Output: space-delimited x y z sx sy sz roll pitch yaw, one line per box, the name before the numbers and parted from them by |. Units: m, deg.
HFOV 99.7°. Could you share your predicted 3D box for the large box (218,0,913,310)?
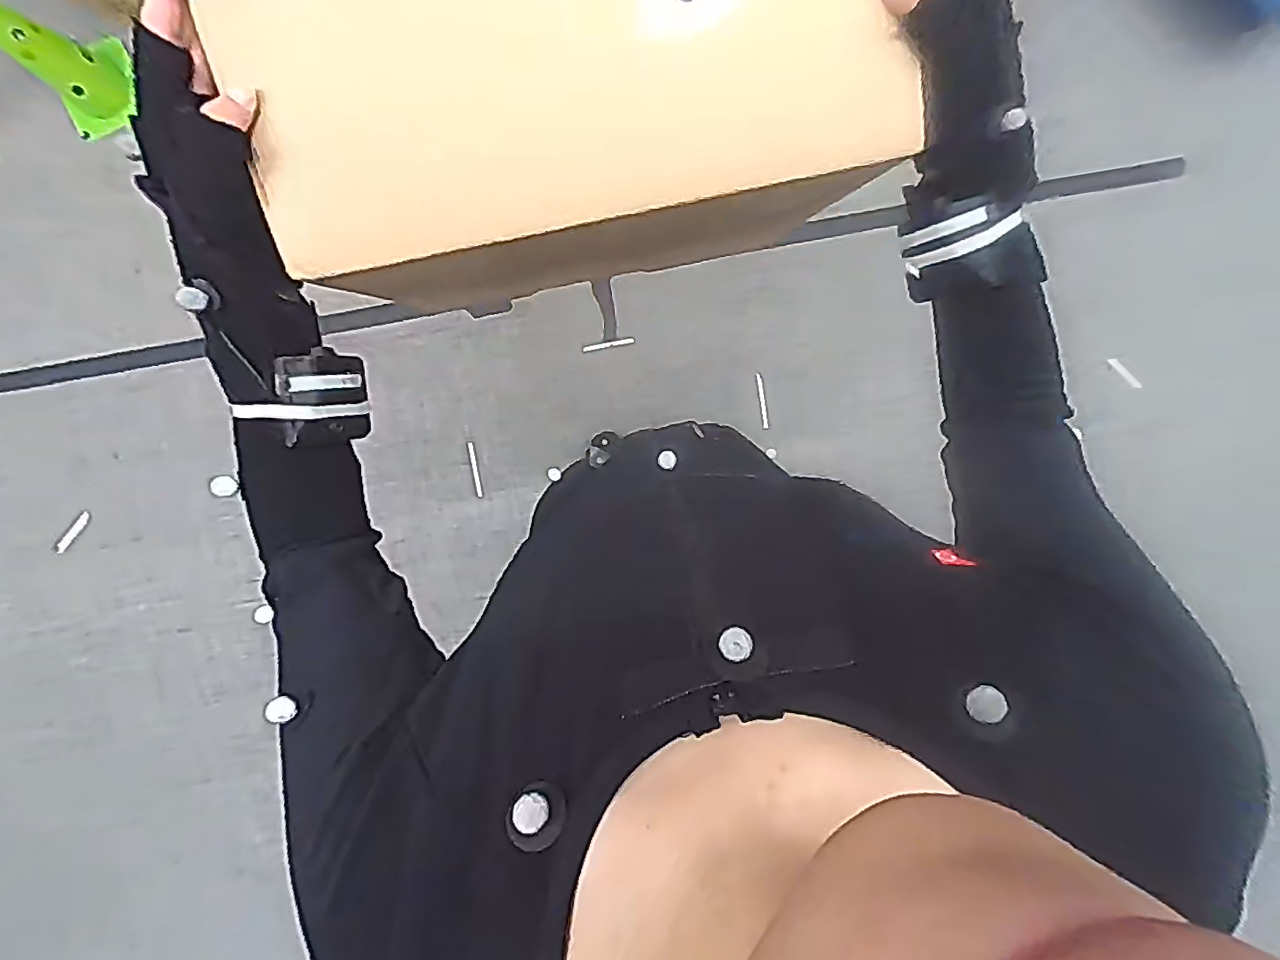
large box | -0.061 -0.352 0.452 0.408 0.320 0.320 -13 105 -3
